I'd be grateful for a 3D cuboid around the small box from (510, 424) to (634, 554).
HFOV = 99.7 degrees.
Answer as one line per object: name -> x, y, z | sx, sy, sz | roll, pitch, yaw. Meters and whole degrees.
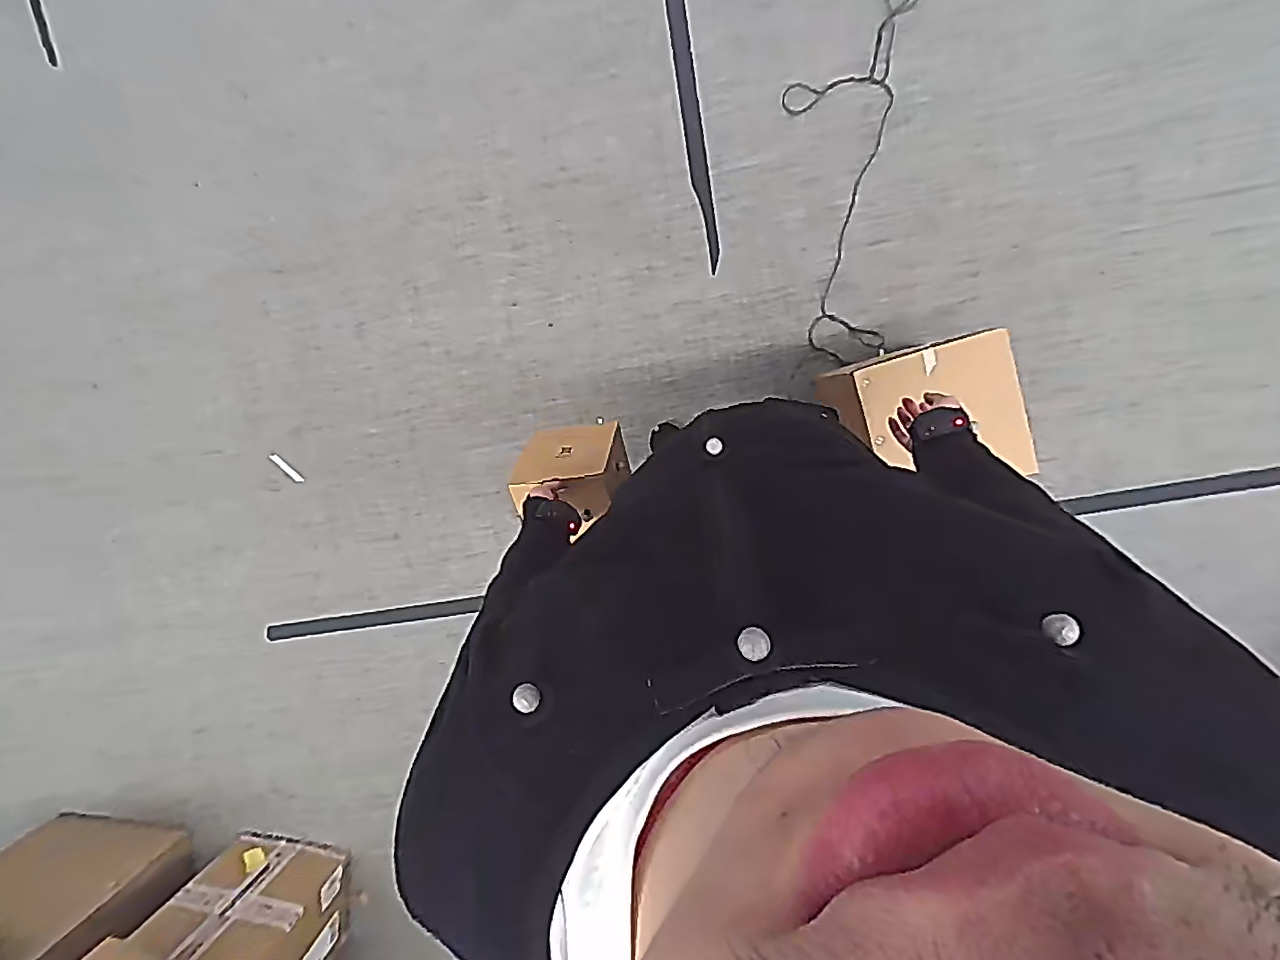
small box -> -0.111, 0.022, 0.984 | 0.168, 0.179, 0.176 | -6, 124, 11
